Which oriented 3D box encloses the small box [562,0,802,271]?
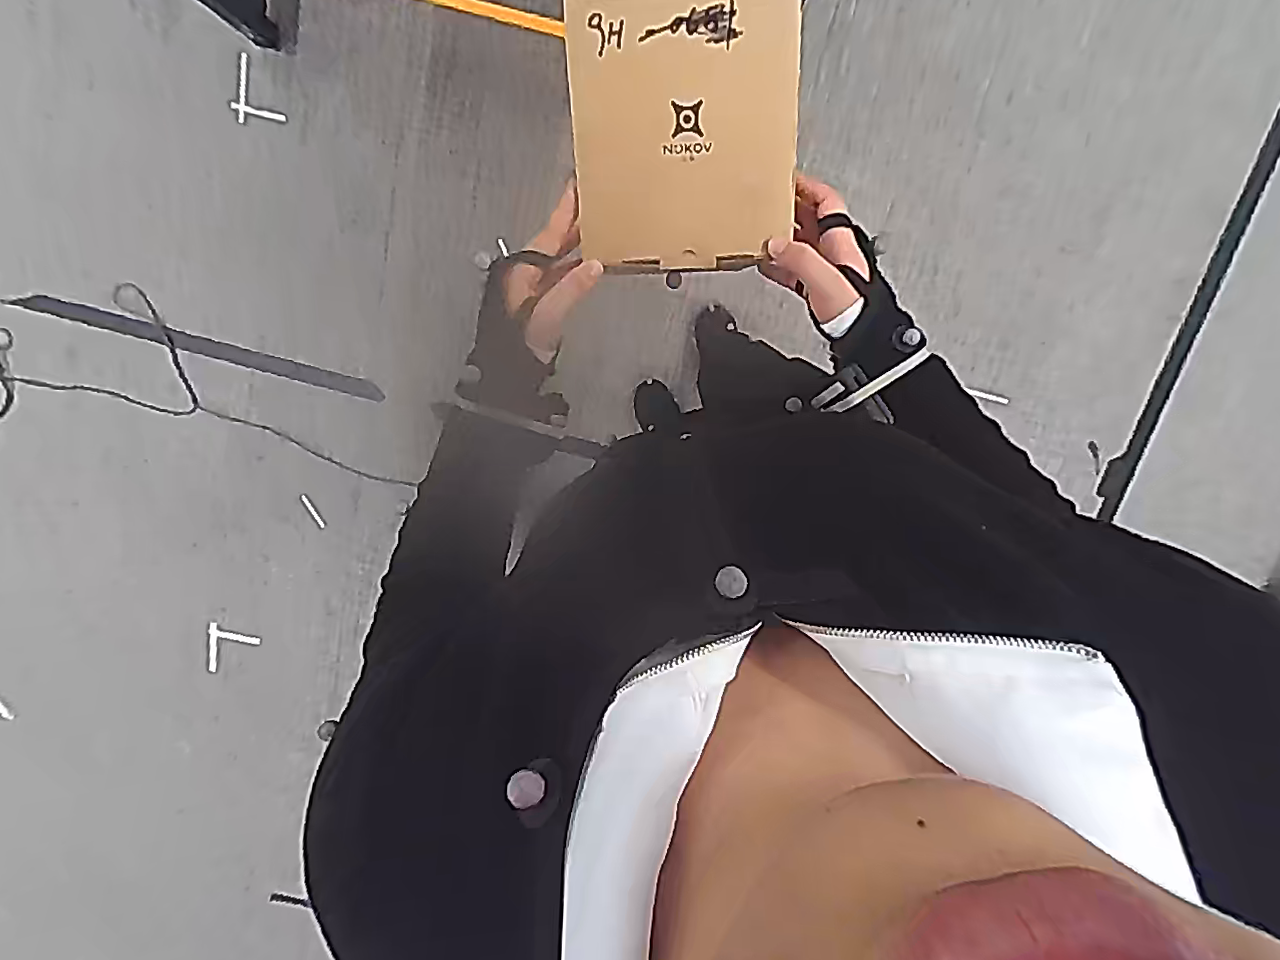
[{"bbox_3d":[0.028,-0.276,0.466,0.168,0.176,0.179,-3,109,-2],"label":"small box"}]
